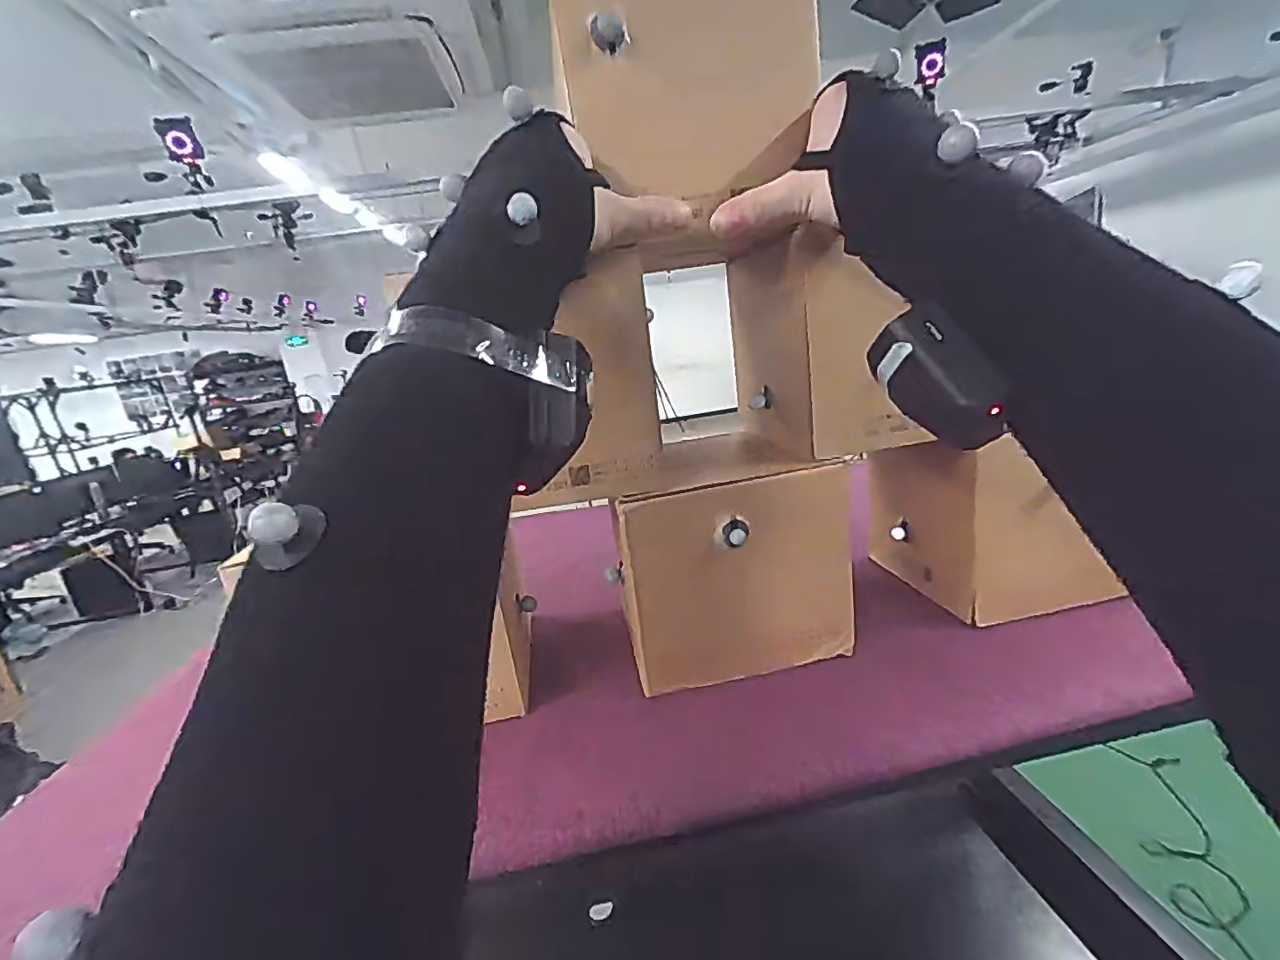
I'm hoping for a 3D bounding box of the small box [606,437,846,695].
[{"bbox_3d":[0.066,0.067,0.486,0.179,0.176,0.168,-9,15,-5],"label":"small box"}]

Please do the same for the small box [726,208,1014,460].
[{"bbox_3d":[0.183,-0.118,0.471,0.168,0.176,0.179,-9,15,-6],"label":"small box"}]

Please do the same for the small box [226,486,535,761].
[{"bbox_3d":[-0.197,0.109,0.471,0.179,0.176,0.168,-10,16,-7],"label":"small box"}]

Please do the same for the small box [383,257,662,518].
[{"bbox_3d":[-0.080,-0.072,0.447,0.168,0.176,0.179,-9,14,-4],"label":"small box"}]

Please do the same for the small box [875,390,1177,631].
[{"bbox_3d":[0.340,0.018,0.514,0.179,0.176,0.168,-11,15,-5],"label":"small box"}]
